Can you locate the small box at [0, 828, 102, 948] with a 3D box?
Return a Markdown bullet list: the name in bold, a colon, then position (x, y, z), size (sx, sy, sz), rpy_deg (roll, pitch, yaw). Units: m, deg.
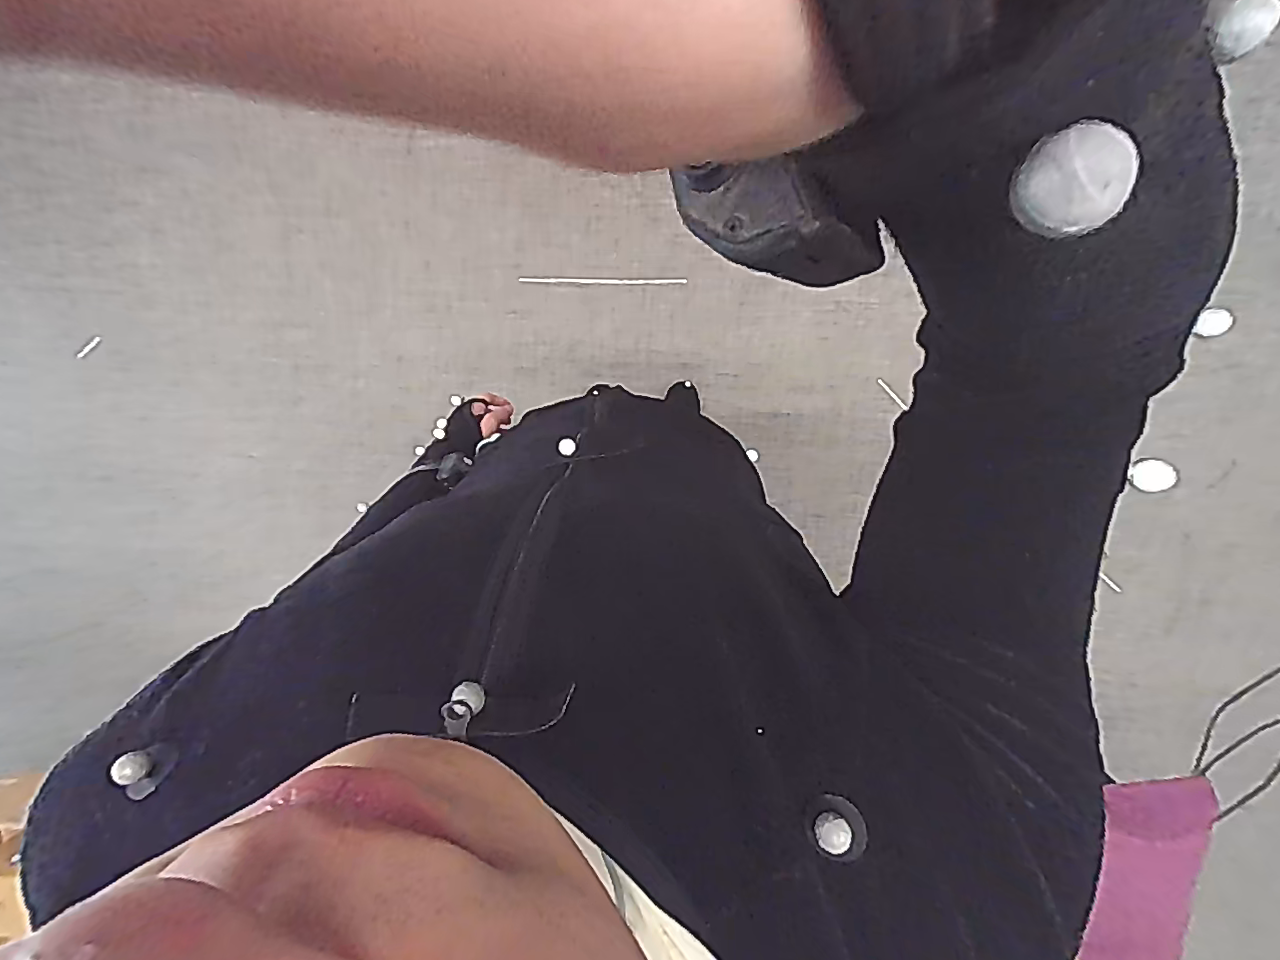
- **small box**: position (-1.493, 0.993, 1.329), size (0.179, 0.176, 0.168), rpy_deg (3, 98, 0)
